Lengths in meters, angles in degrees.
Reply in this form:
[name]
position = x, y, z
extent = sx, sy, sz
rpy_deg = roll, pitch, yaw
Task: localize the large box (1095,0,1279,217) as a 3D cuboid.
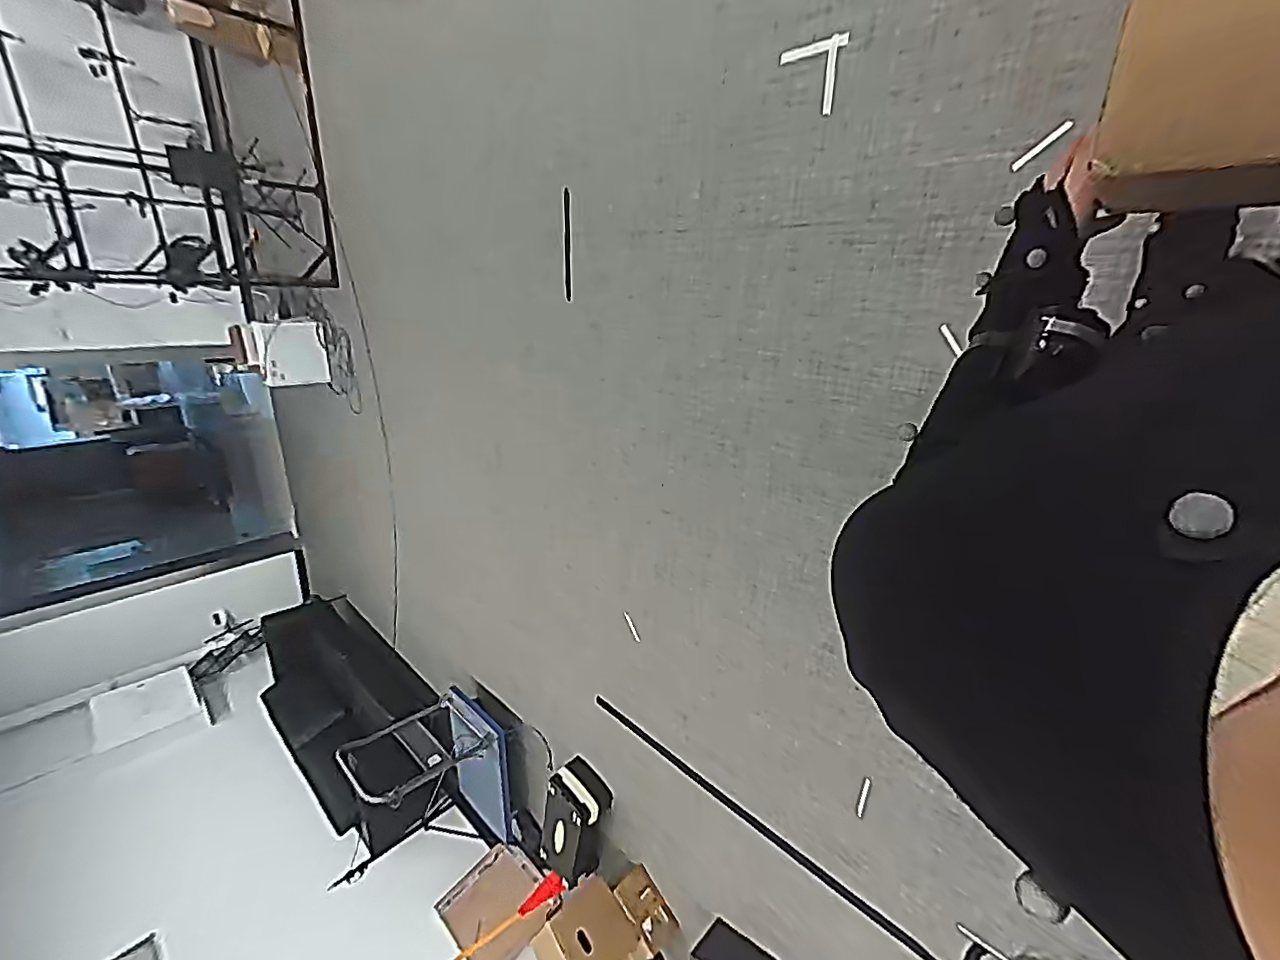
[large box]
position = 0.456, -0.293, 0.197
extent = 0.408, 0.320, 0.320
rpy_deg = 15, 117, 36
